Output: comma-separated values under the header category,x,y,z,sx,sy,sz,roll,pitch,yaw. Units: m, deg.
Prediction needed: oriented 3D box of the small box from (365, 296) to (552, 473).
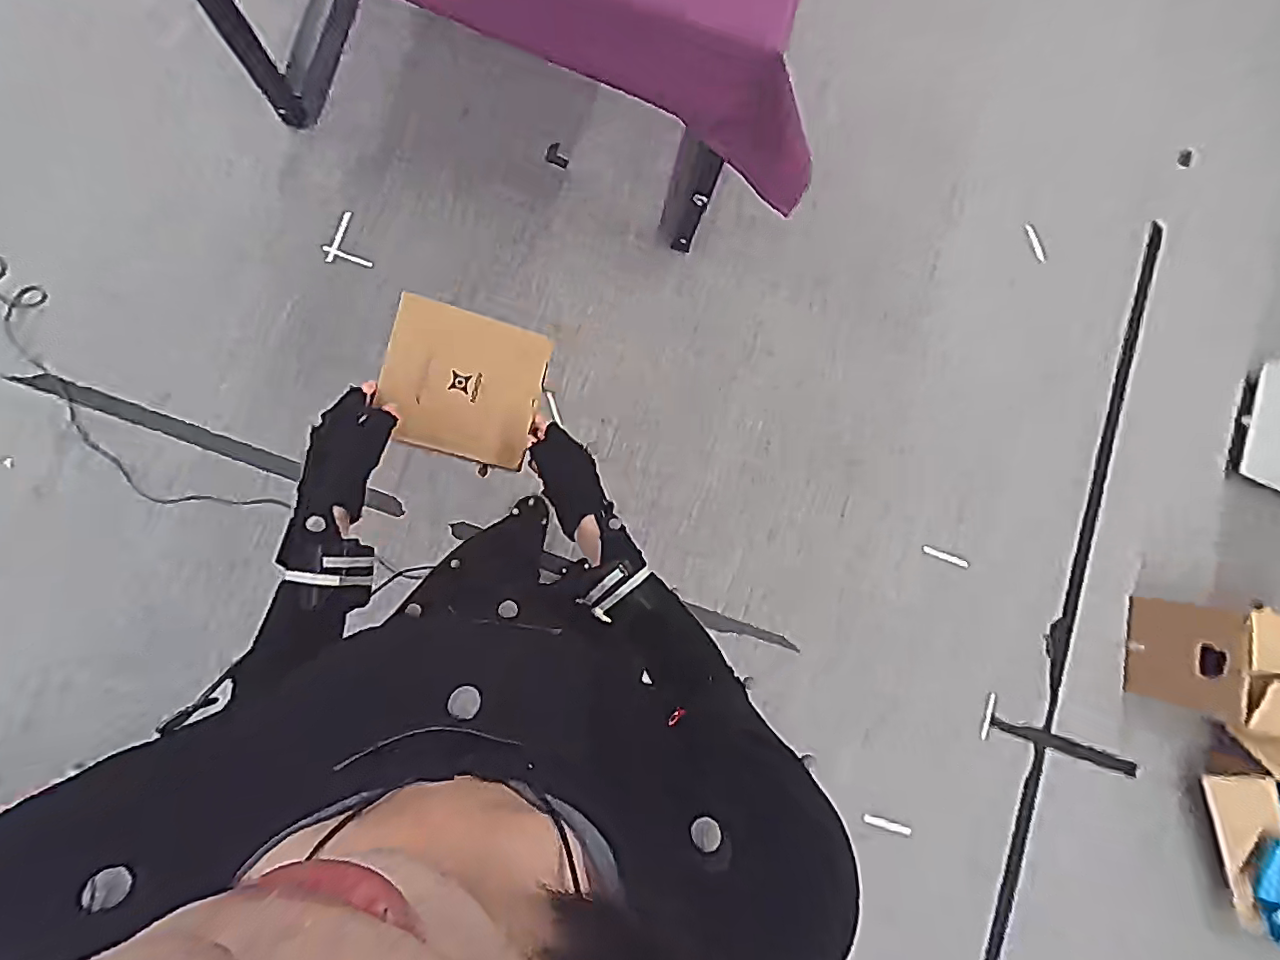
category,x,y,z,sx,sy,sz,roll,pitch,yaw
small box,-0.224,-0.106,0.695,0.179,0.176,0.168,13,84,-14
